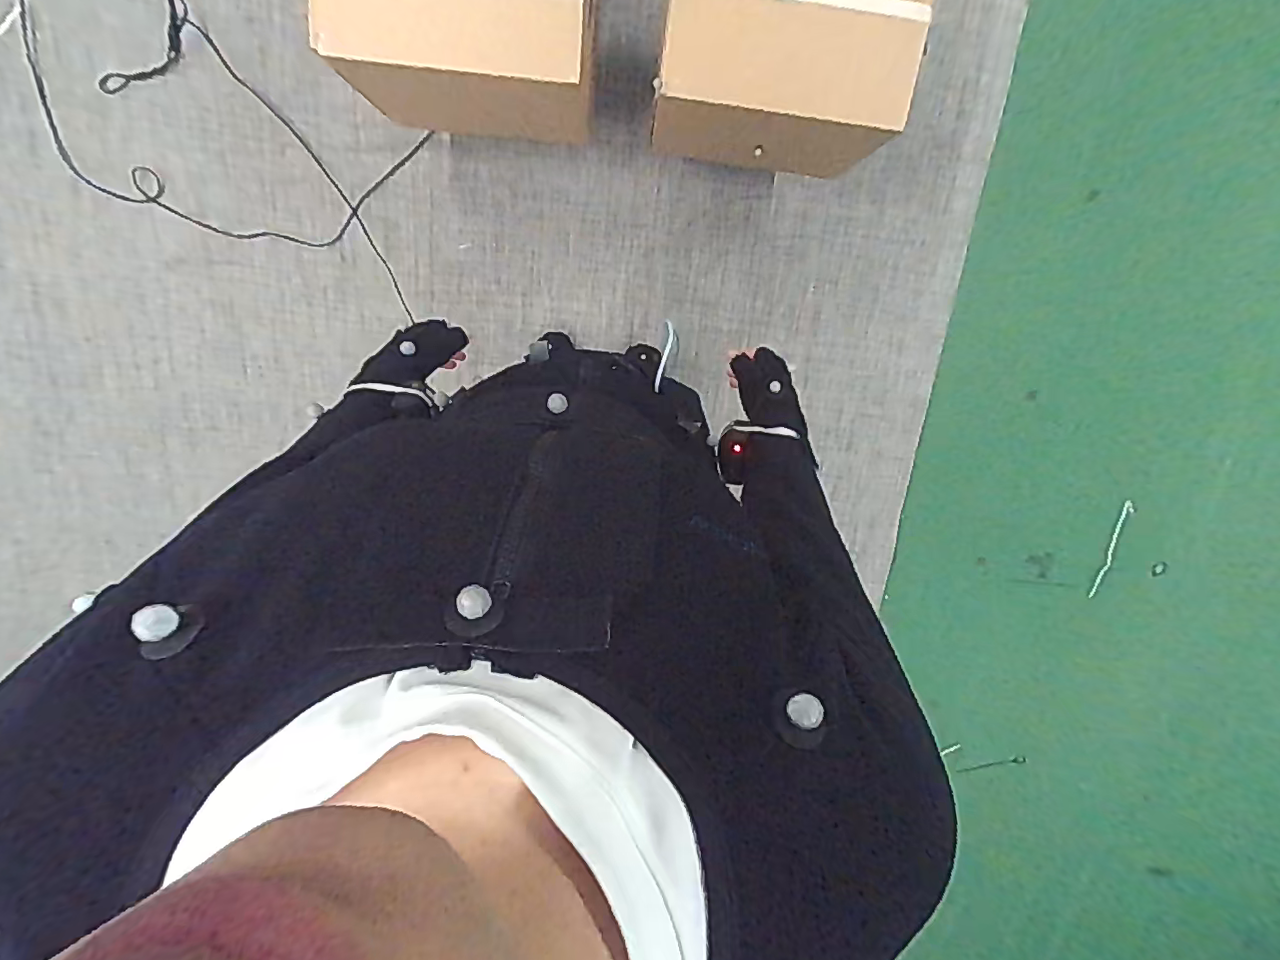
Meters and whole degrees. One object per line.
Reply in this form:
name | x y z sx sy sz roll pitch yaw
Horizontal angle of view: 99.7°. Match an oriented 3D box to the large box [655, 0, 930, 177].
large box | 0.250 -0.778 0.983 0.408 0.320 0.320 7 106 -3
